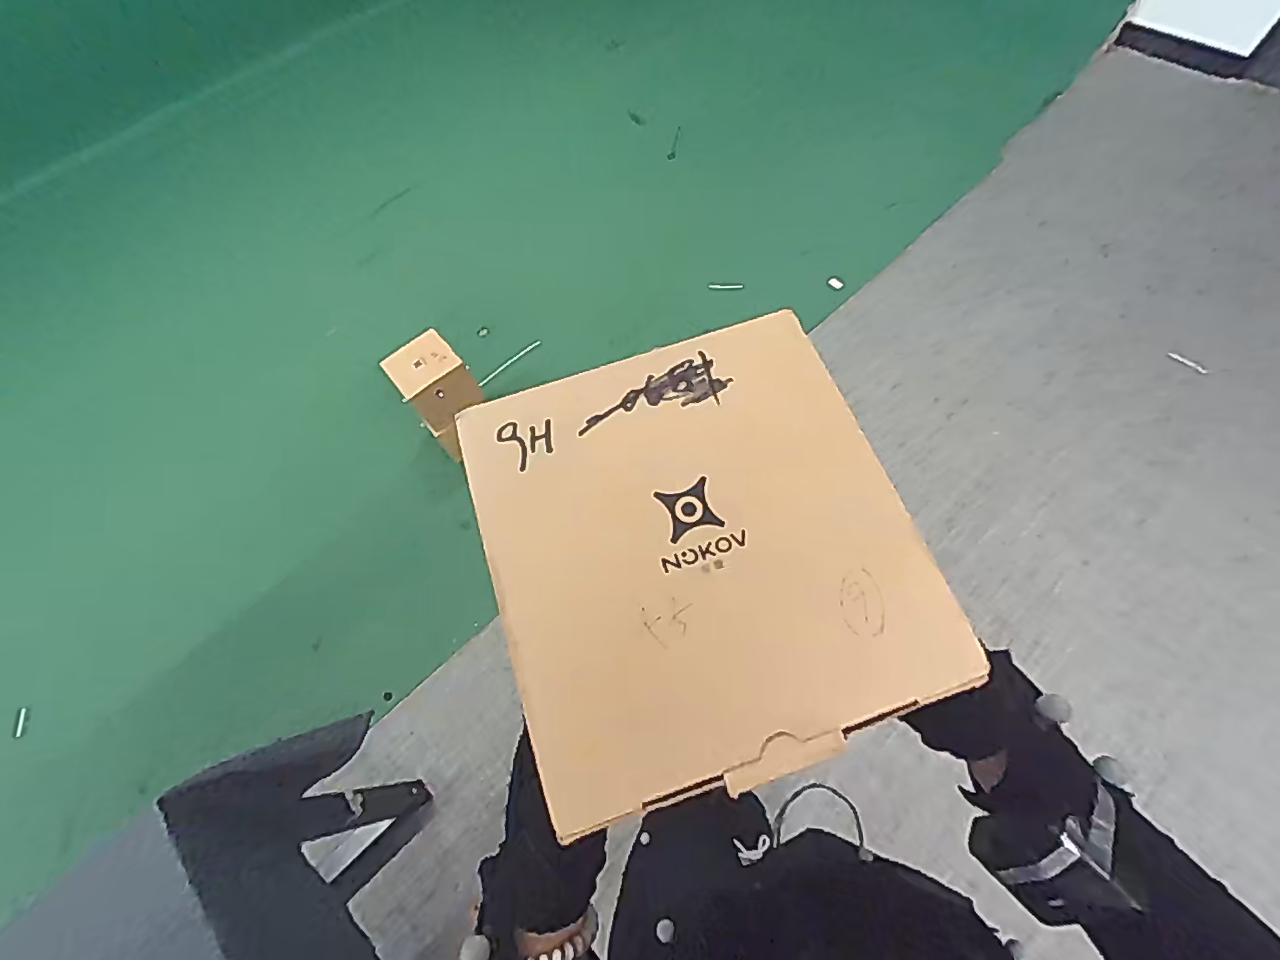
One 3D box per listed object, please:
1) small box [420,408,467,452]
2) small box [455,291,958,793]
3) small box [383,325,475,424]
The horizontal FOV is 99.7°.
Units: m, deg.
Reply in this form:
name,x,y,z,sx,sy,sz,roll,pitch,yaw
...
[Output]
name,x,y,z,sx,sy,sz,roll,pitch,yaw
small box,-0.555,-0.207,1.657,0.168,0.176,0.179,-37,66,-12
small box,0.020,0.037,0.297,0.168,0.176,0.179,-17,70,-5
small box,-0.571,-0.289,1.515,0.179,0.176,0.168,-38,67,-13
